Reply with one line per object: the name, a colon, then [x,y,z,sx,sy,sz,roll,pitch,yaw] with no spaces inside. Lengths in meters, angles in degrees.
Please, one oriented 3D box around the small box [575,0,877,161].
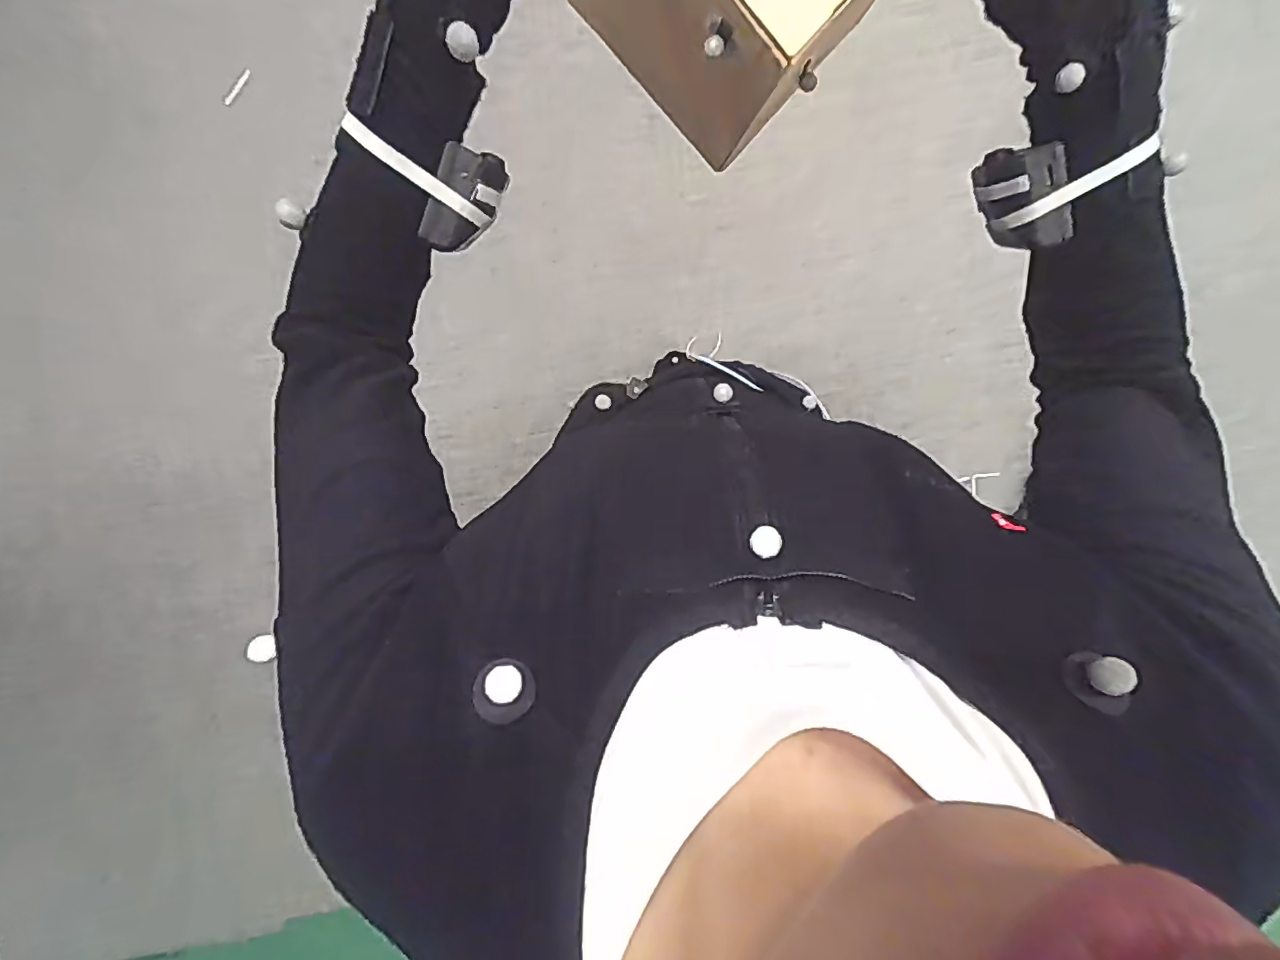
small box: [0.067,-0.355,0.351,0.179,0.176,0.168,43,95,-13]
